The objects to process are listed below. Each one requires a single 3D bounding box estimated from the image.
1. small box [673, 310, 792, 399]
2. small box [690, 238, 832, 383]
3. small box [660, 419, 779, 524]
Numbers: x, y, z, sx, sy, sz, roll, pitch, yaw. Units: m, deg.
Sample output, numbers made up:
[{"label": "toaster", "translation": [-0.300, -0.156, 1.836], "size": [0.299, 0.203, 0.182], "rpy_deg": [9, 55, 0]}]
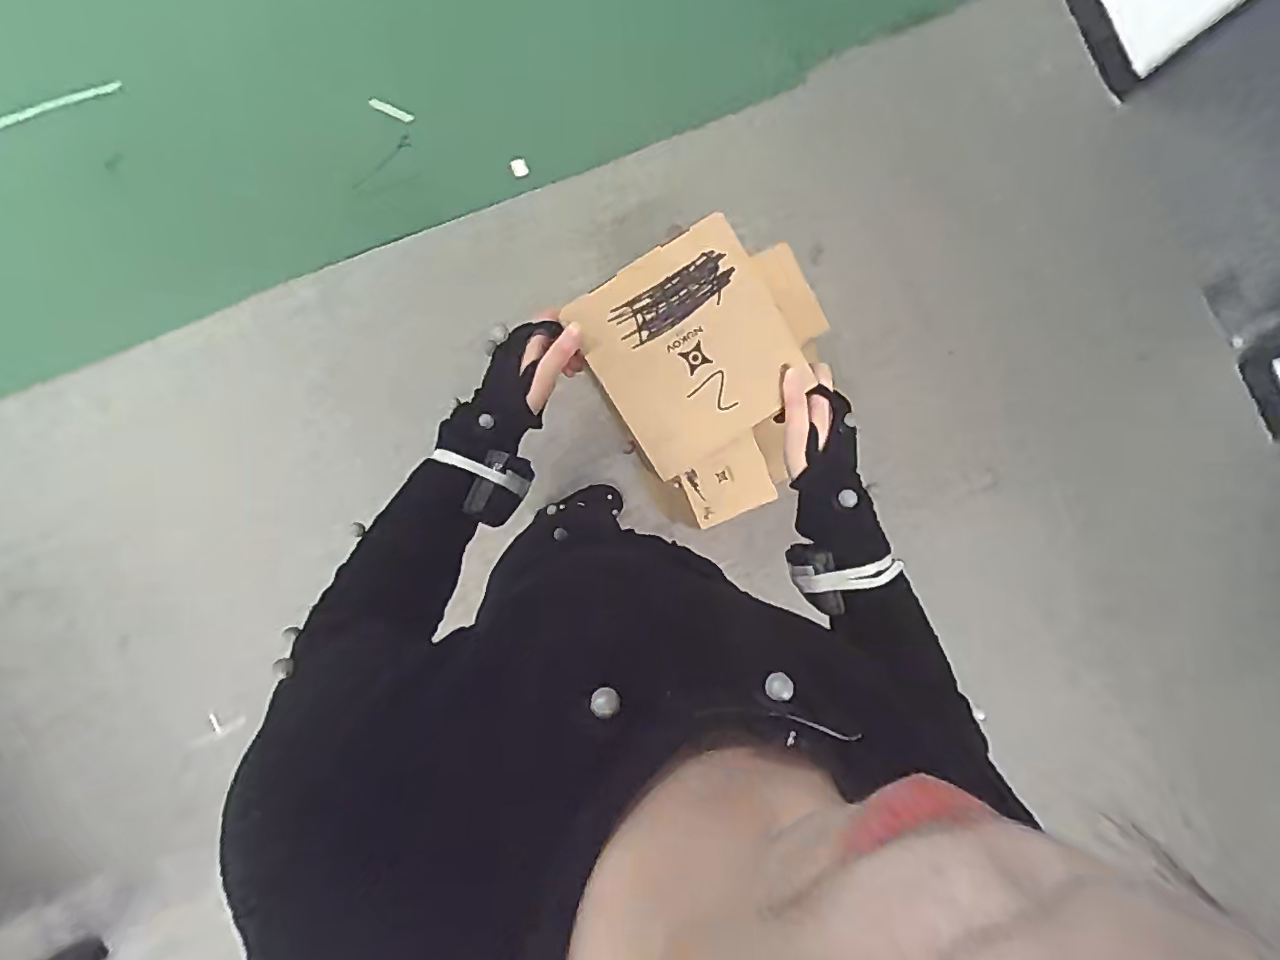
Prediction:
[{"label": "small box", "translation": [0.190, -0.287, 1.160], "size": [0.168, 0.176, 0.179], "rpy_deg": [-27, 90, -9]}, {"label": "small box", "translation": [0.212, -0.303, 0.999], "size": [0.168, 0.176, 0.179], "rpy_deg": [-26, 91, -9]}, {"label": "small box", "translation": [0.160, -0.016, 1.141], "size": [0.179, 0.176, 0.168], "rpy_deg": [-21, 90, -8]}]
